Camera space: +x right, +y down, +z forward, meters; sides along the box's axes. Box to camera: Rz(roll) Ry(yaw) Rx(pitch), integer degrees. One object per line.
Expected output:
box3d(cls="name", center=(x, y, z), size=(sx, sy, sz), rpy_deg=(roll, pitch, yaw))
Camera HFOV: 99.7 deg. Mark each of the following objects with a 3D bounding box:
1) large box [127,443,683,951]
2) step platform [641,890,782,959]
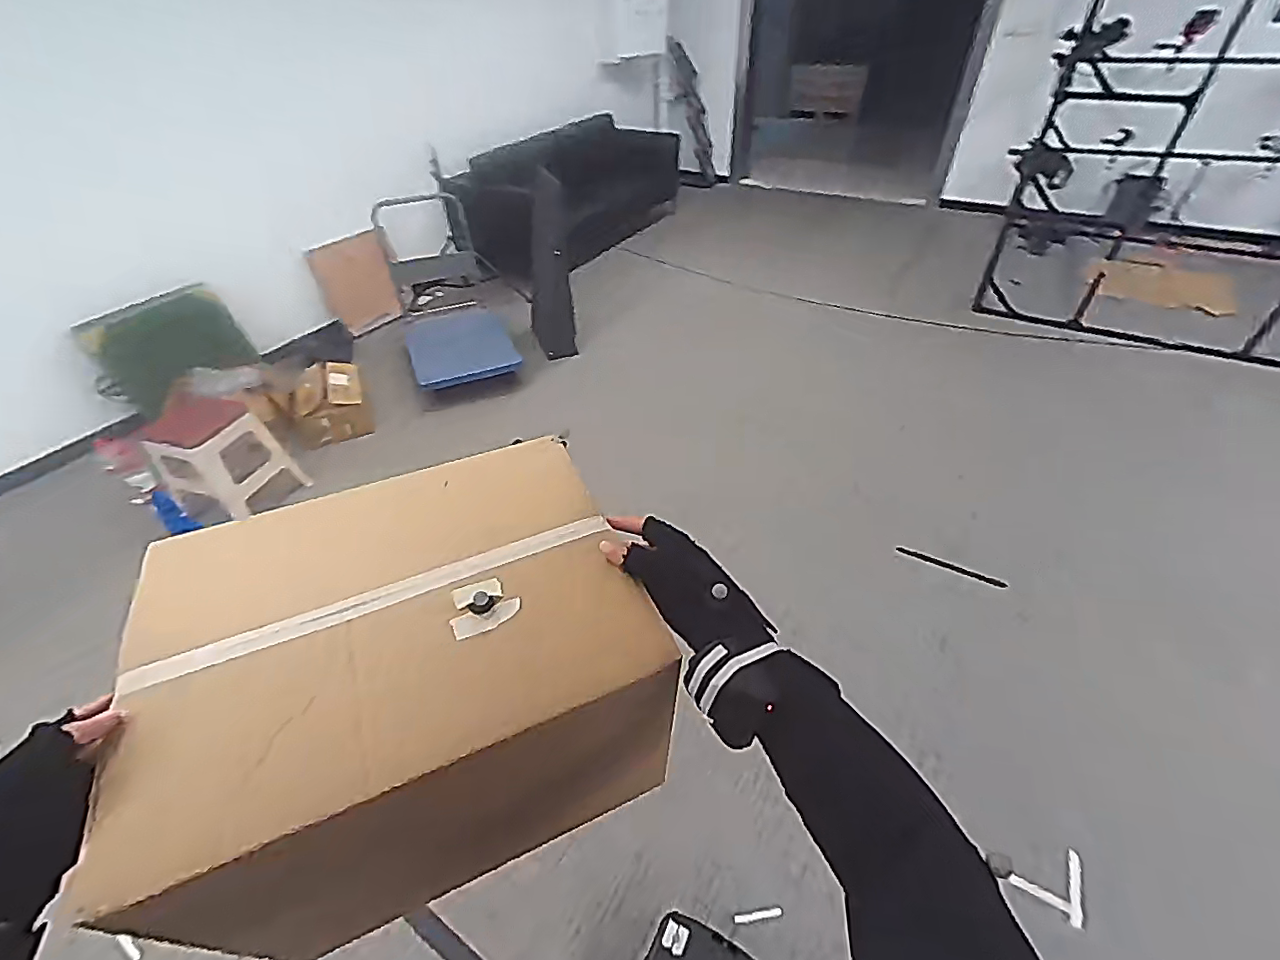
box3d(cls="large box", center=(-0.207, 0.213, 0.594), size=(0.408, 0.320, 0.320), rpy_deg=(-17, 48, -18))
box3d(cls="step platform", center=(0.042, 1.216, 1.036), size=(0.286, 0.204, 0.684), rpy_deg=(19, 45, 22))
